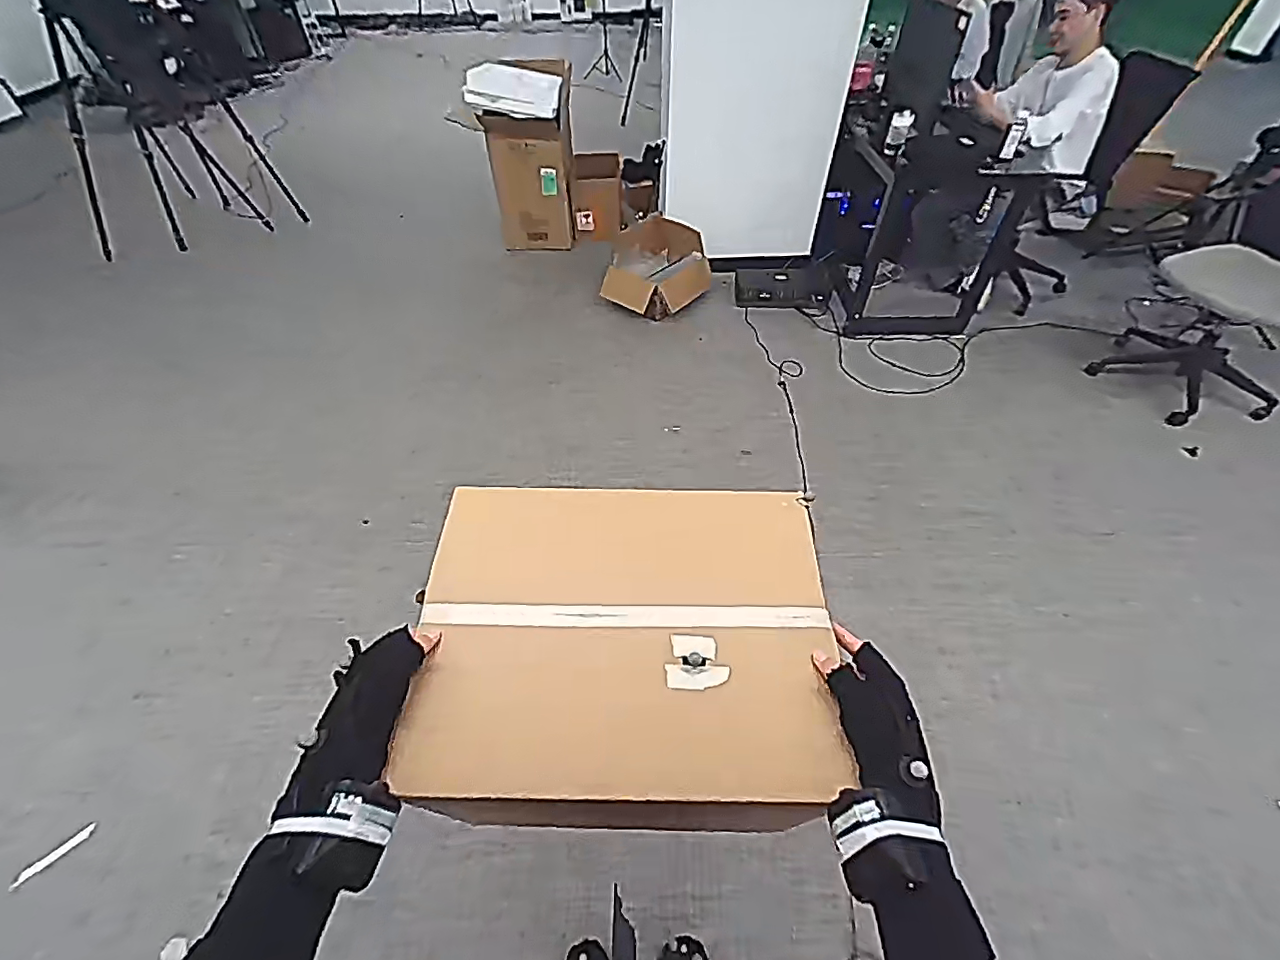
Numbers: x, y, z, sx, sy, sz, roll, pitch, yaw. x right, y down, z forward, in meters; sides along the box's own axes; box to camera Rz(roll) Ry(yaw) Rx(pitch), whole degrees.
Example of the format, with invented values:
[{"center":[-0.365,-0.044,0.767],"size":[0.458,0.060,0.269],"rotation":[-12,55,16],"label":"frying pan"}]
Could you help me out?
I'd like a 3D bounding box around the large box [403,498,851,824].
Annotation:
[{"center":[-0.014,0.235,0.678],"size":[0.408,0.320,0.320],"rotation":[1,54,-1],"label":"large box"}]
